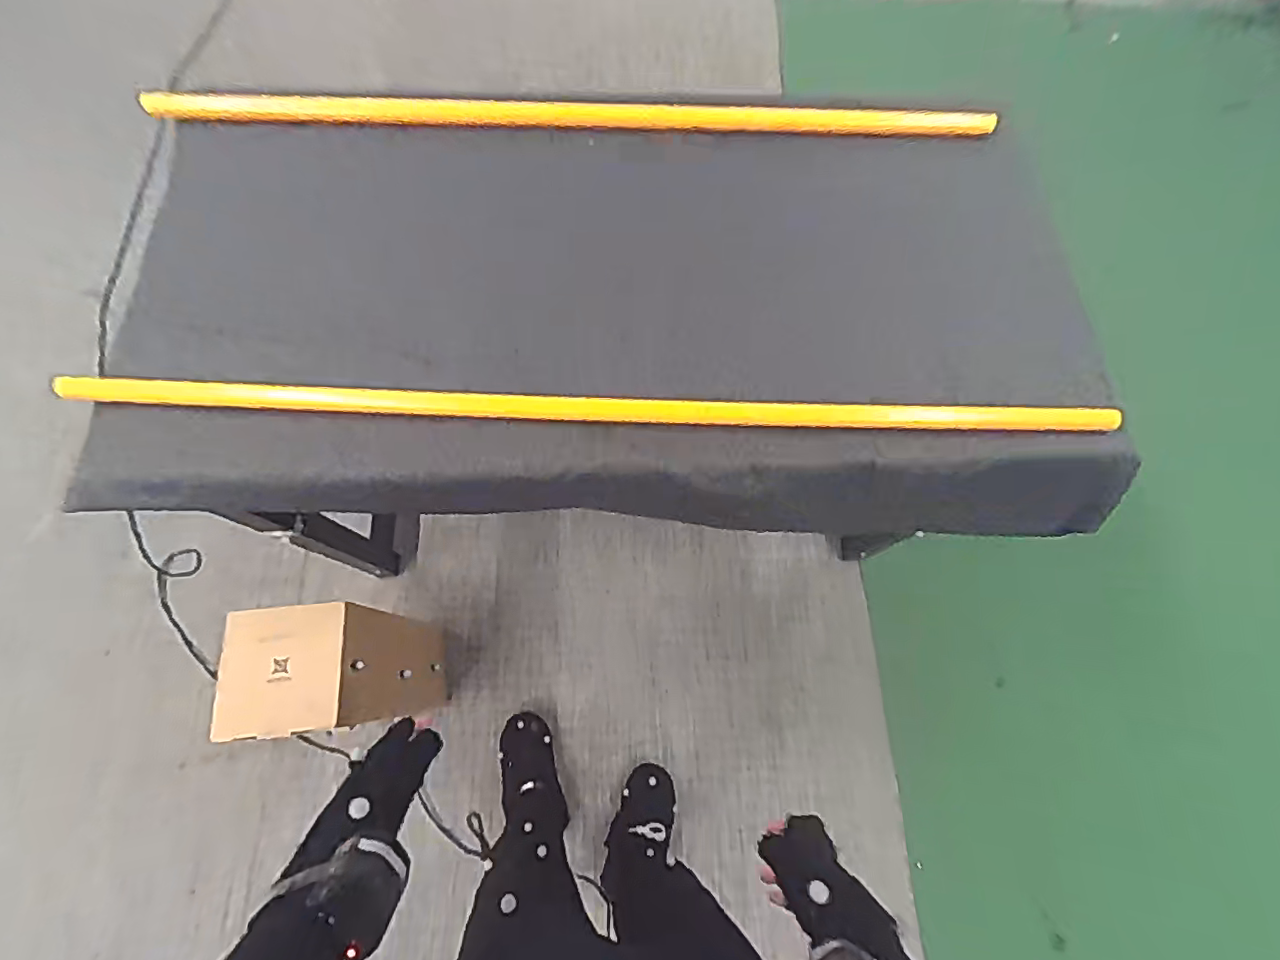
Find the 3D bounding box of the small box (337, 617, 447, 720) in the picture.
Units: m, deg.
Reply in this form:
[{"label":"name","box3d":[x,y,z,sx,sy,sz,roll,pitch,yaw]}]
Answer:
[{"label":"small box","box3d":[-0.515,0.396,1.142,0.168,0.176,0.179,-8,72,-5]}]
